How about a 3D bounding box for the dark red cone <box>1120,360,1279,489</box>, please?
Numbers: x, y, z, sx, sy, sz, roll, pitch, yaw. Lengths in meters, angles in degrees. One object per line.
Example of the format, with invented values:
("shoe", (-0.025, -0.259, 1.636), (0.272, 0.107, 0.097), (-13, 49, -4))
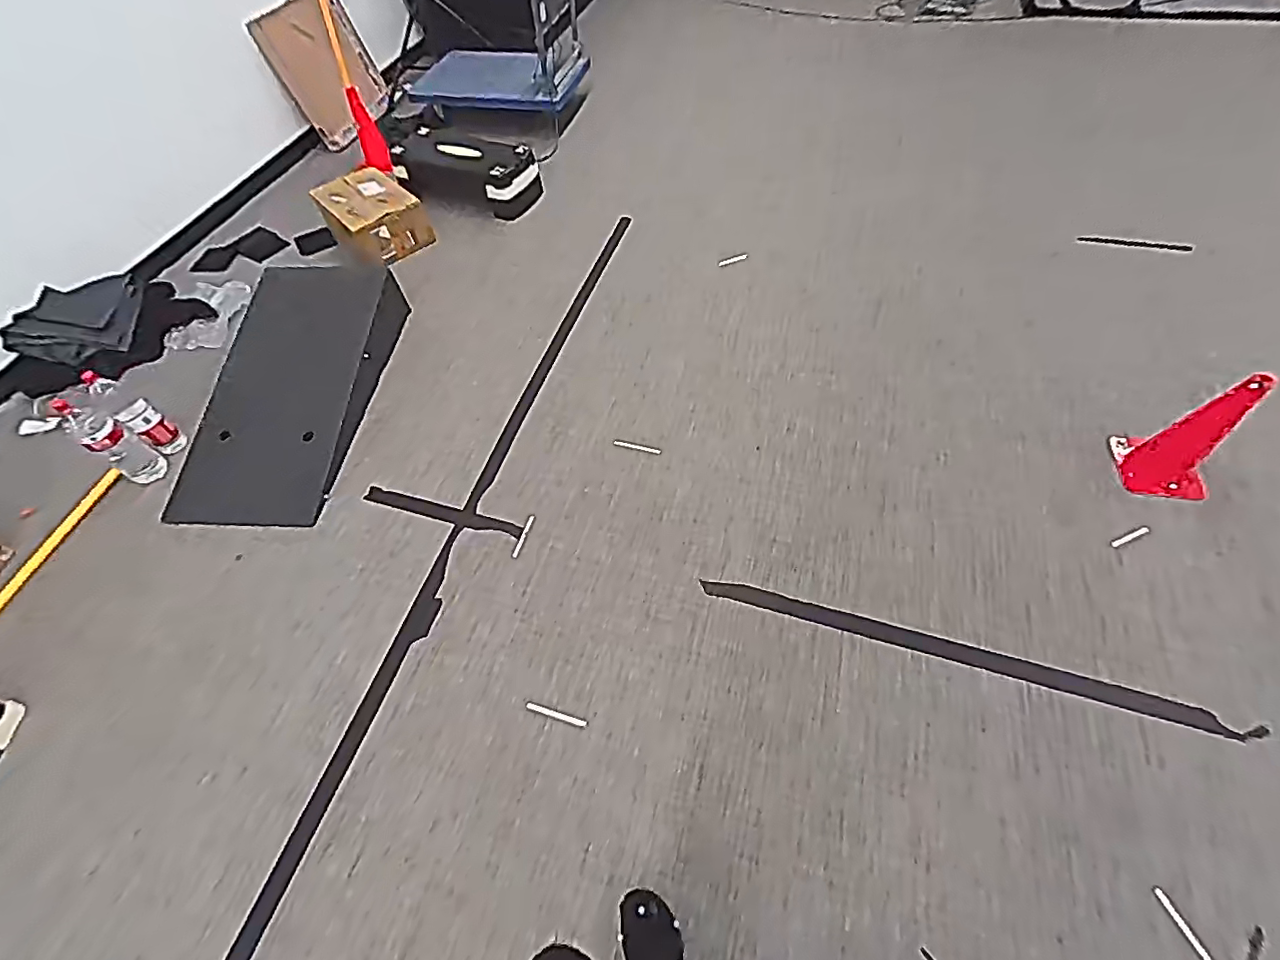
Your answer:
("dark red cone", (1.449, -0.152, 1.362), (0.202, 0.394, 0.201), (6, 58, 8))
